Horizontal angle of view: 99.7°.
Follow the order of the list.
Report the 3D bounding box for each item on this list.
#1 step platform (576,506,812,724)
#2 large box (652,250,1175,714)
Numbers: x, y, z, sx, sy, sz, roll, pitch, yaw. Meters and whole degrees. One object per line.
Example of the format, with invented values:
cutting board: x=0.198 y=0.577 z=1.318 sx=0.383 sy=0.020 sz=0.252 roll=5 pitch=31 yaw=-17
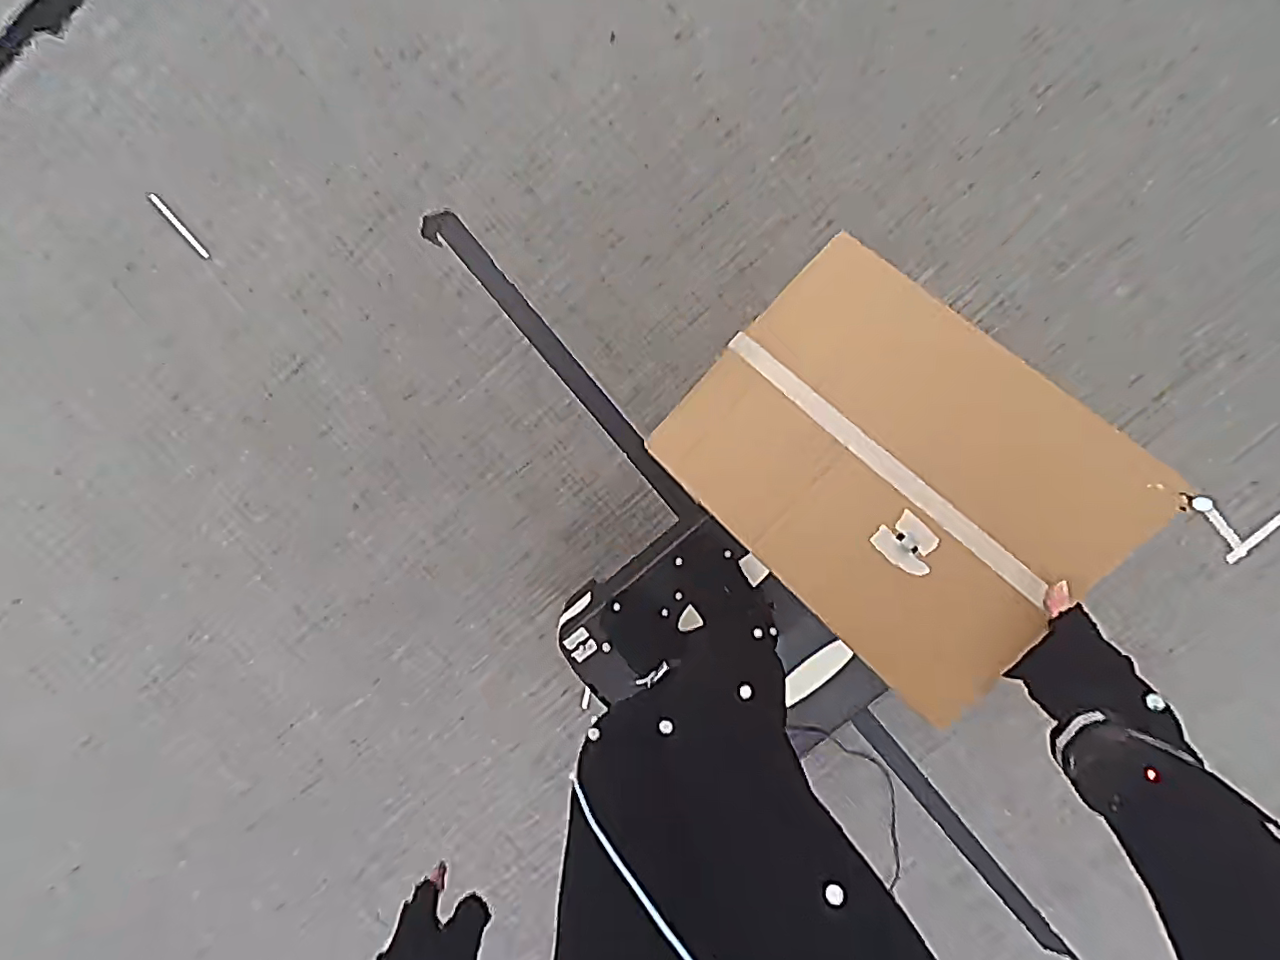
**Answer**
step platform: x=0.194 y=0.161 z=1.086 sx=0.684 sy=0.204 sz=0.286 roll=-42 pitch=95 yaw=5
large box: x=0.287 y=0.000 z=0.699 sx=0.408 sy=0.320 sz=0.320 roll=45 pitch=98 yaw=14
